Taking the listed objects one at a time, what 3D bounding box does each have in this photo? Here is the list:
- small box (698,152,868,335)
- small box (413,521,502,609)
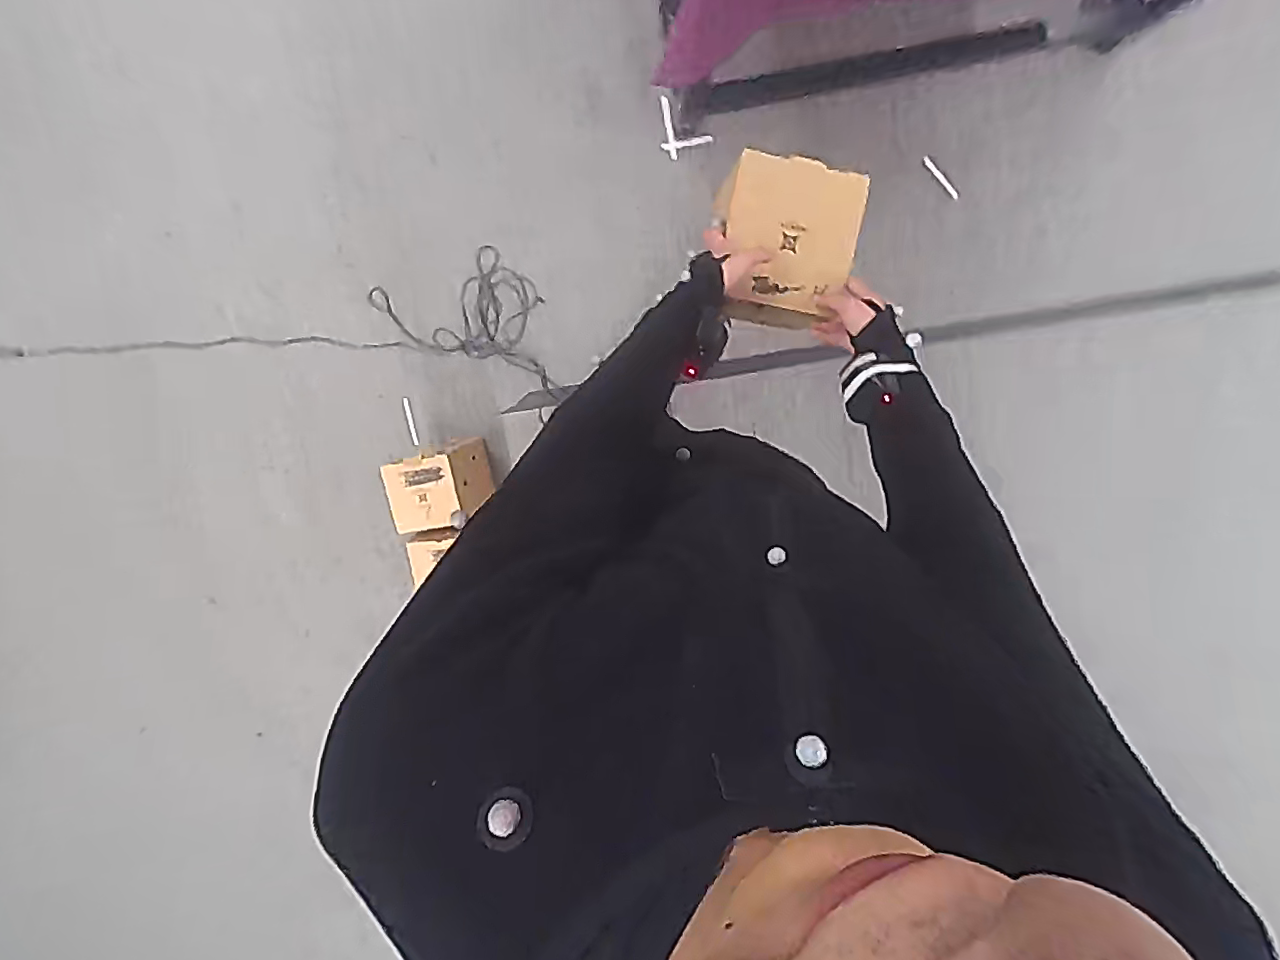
[{"bbox_3d":[0.182,-0.311,0.749,0.168,0.176,0.179,11,100,-3],"label":"small box"},{"bbox_3d":[-0.472,0.216,1.425,0.168,0.176,0.179,-6,105,1],"label":"small box"}]
